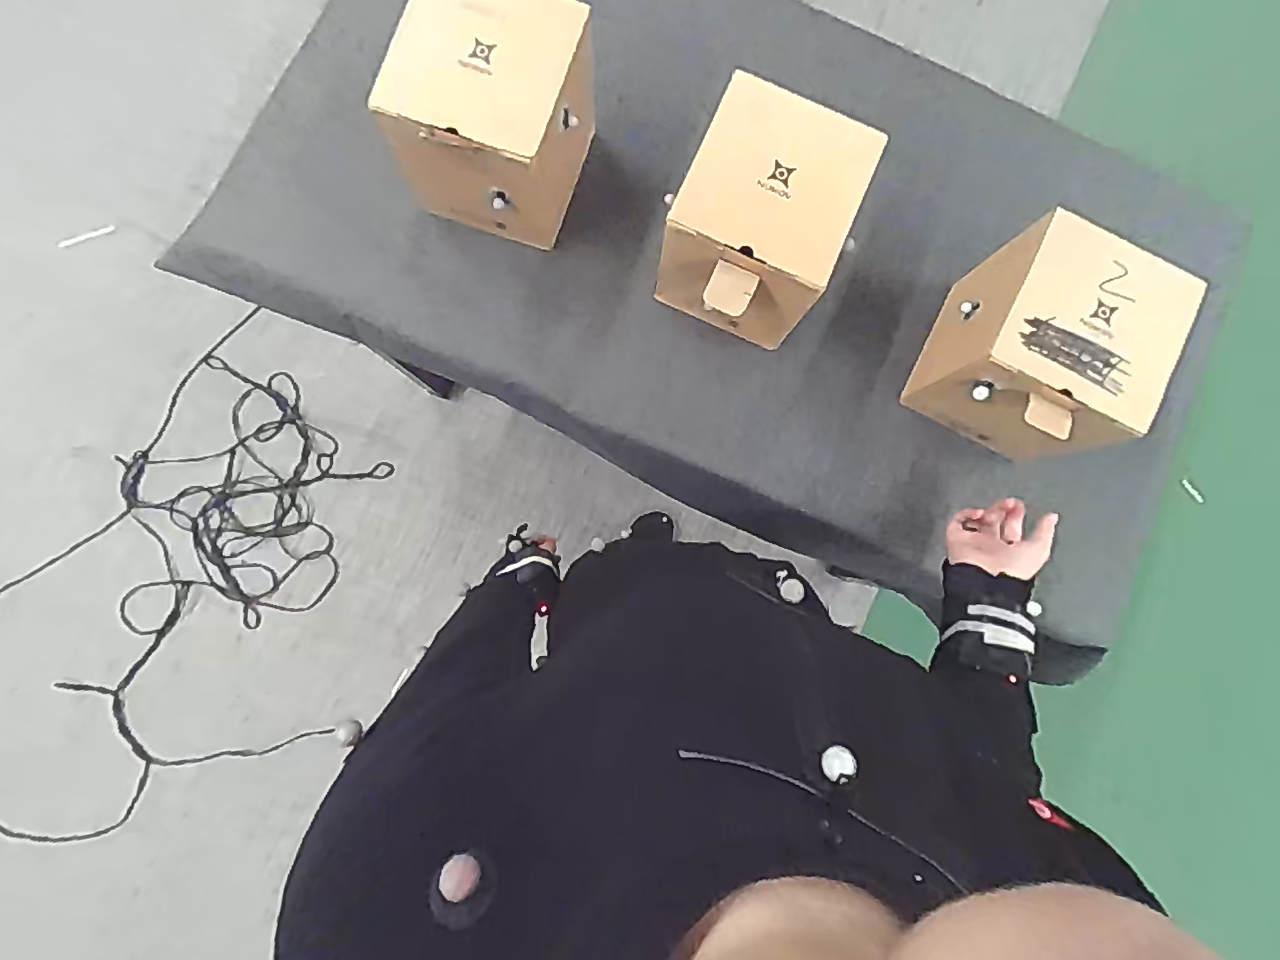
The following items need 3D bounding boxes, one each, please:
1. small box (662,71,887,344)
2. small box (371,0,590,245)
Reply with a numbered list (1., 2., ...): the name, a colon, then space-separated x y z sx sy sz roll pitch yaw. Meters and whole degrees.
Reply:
1. small box: 0.131 -0.281 0.597 0.168 0.176 0.179 24 84 0
2. small box: -0.155 -0.396 0.596 0.168 0.176 0.179 18 82 -2
